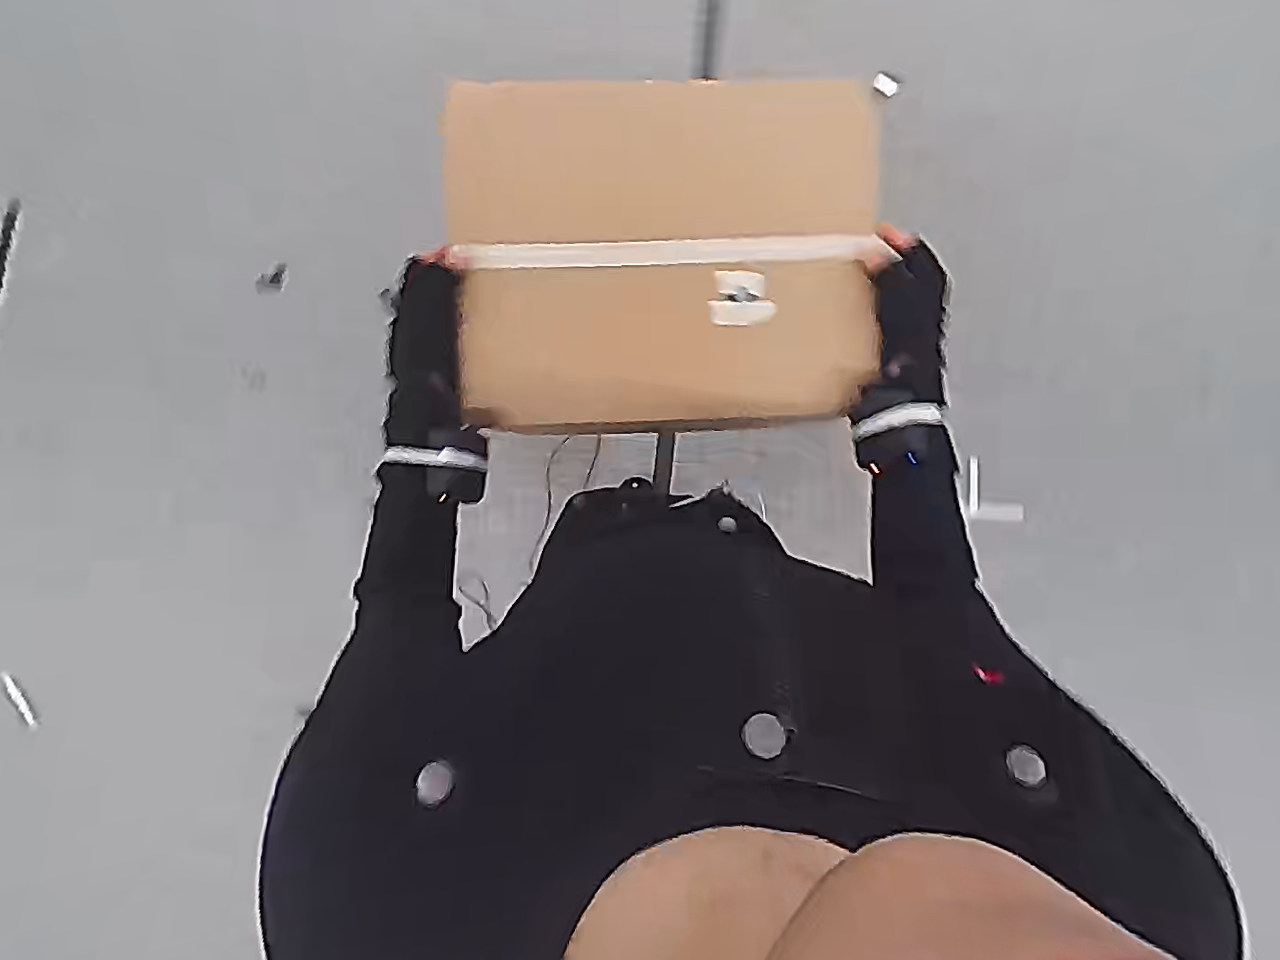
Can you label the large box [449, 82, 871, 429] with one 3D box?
[{"bbox_3d":[0.016,-0.231,0.668,0.408,0.320,0.320,-2,94,-4],"label":"large box"}]
